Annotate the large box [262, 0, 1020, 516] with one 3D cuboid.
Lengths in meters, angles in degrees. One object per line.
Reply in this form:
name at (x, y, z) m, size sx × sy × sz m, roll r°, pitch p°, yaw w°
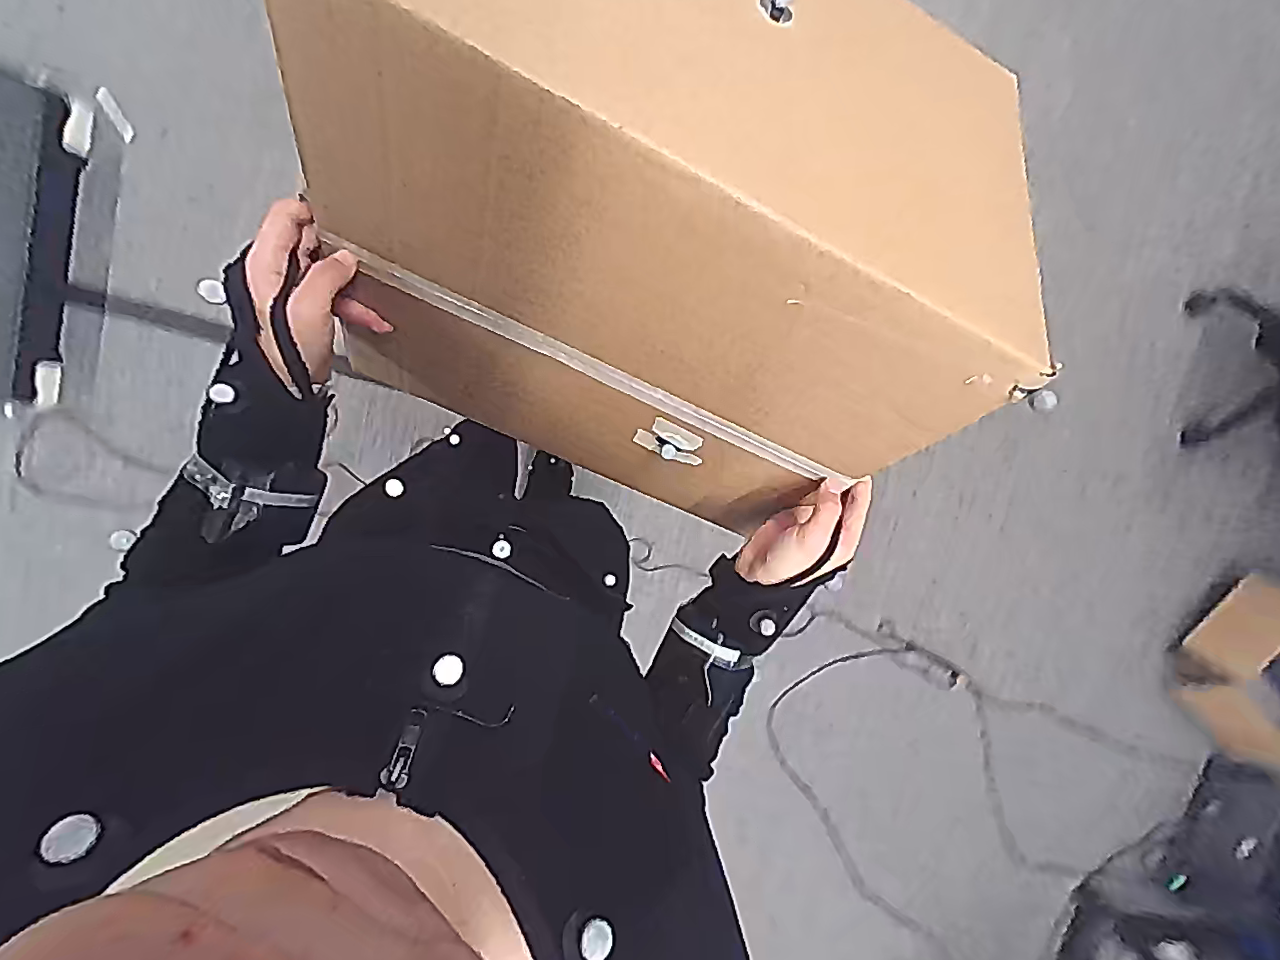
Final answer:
large box at (0.010, -0.215, 0.453) m, size 0.408 × 0.320 × 0.320 m, roll 21°, pitch 64°, yaw -11°
